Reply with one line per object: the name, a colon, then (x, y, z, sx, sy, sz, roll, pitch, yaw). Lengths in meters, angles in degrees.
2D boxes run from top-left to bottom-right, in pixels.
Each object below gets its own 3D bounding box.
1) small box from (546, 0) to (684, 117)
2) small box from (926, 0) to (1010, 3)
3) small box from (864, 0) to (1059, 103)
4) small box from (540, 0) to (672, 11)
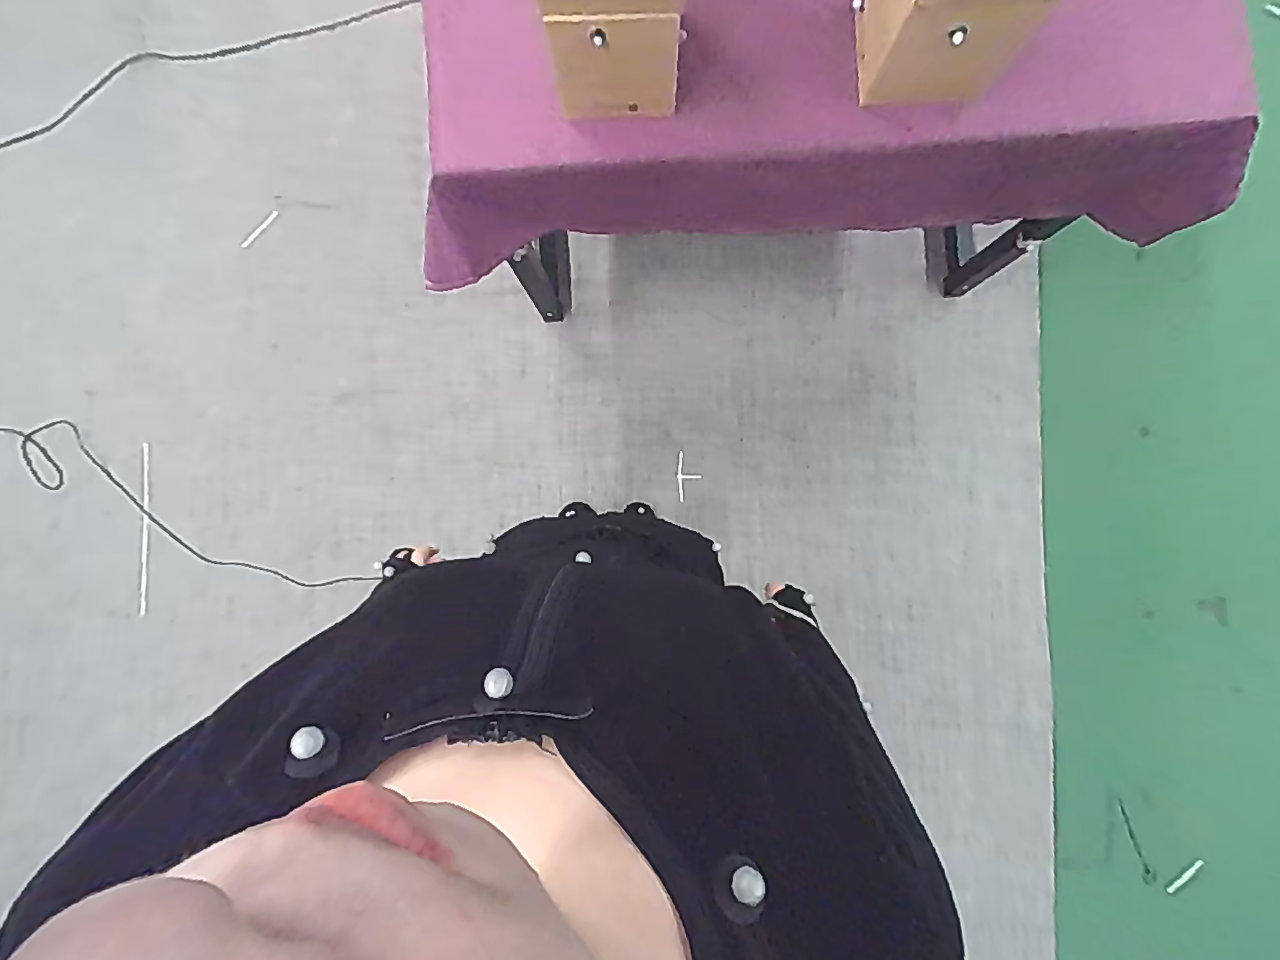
small box: (-0.027, -0.628, 0.722, 0.168, 0.176, 0.179, 0, 87, 2)
small box: (0.408, -0.638, 0.550, 0.179, 0.176, 0.168, -2, 88, 2)
small box: (0.408, -0.632, 0.712, 0.179, 0.176, 0.168, -1, 88, 1)
small box: (-0.031, -0.634, 0.559, 0.179, 0.176, 0.168, 1, 88, 2)
